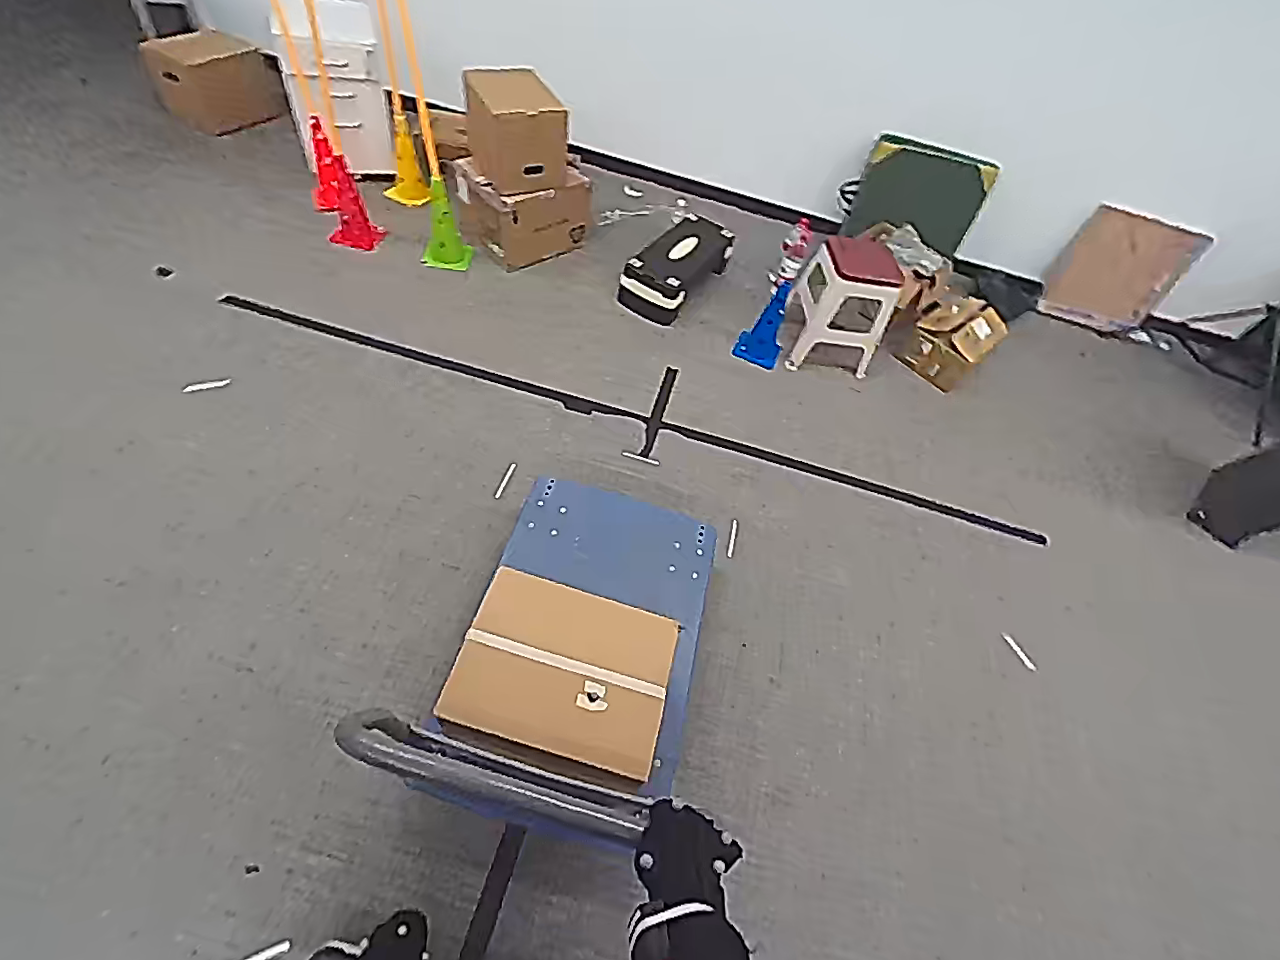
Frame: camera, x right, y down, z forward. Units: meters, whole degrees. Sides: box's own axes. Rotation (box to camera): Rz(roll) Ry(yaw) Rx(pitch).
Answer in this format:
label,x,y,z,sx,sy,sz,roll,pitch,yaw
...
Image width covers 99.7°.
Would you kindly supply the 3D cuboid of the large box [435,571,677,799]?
label,x,y,z,sx,sy,sz,roll,pitch,yaw
large box,-0.174,0.449,1.165,0.408,0.320,0.320,18,53,-1
